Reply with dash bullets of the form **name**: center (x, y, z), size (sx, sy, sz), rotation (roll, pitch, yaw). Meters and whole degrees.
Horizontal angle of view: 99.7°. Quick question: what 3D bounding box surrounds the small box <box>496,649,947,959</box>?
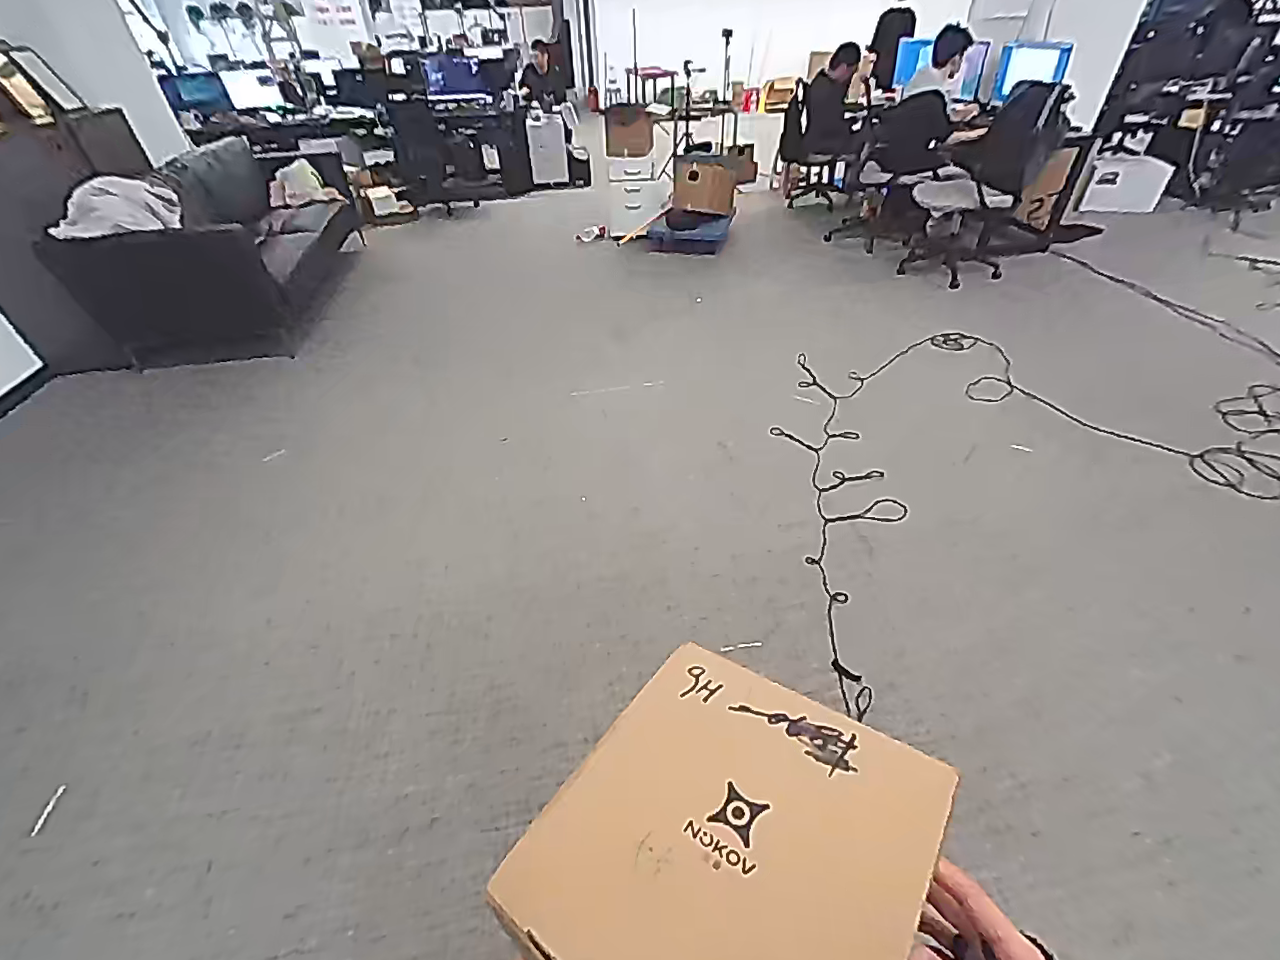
- **small box**: center (0.055, 0.242, 0.310), size (0.168, 0.176, 0.179), rotation (16, 40, 35)
